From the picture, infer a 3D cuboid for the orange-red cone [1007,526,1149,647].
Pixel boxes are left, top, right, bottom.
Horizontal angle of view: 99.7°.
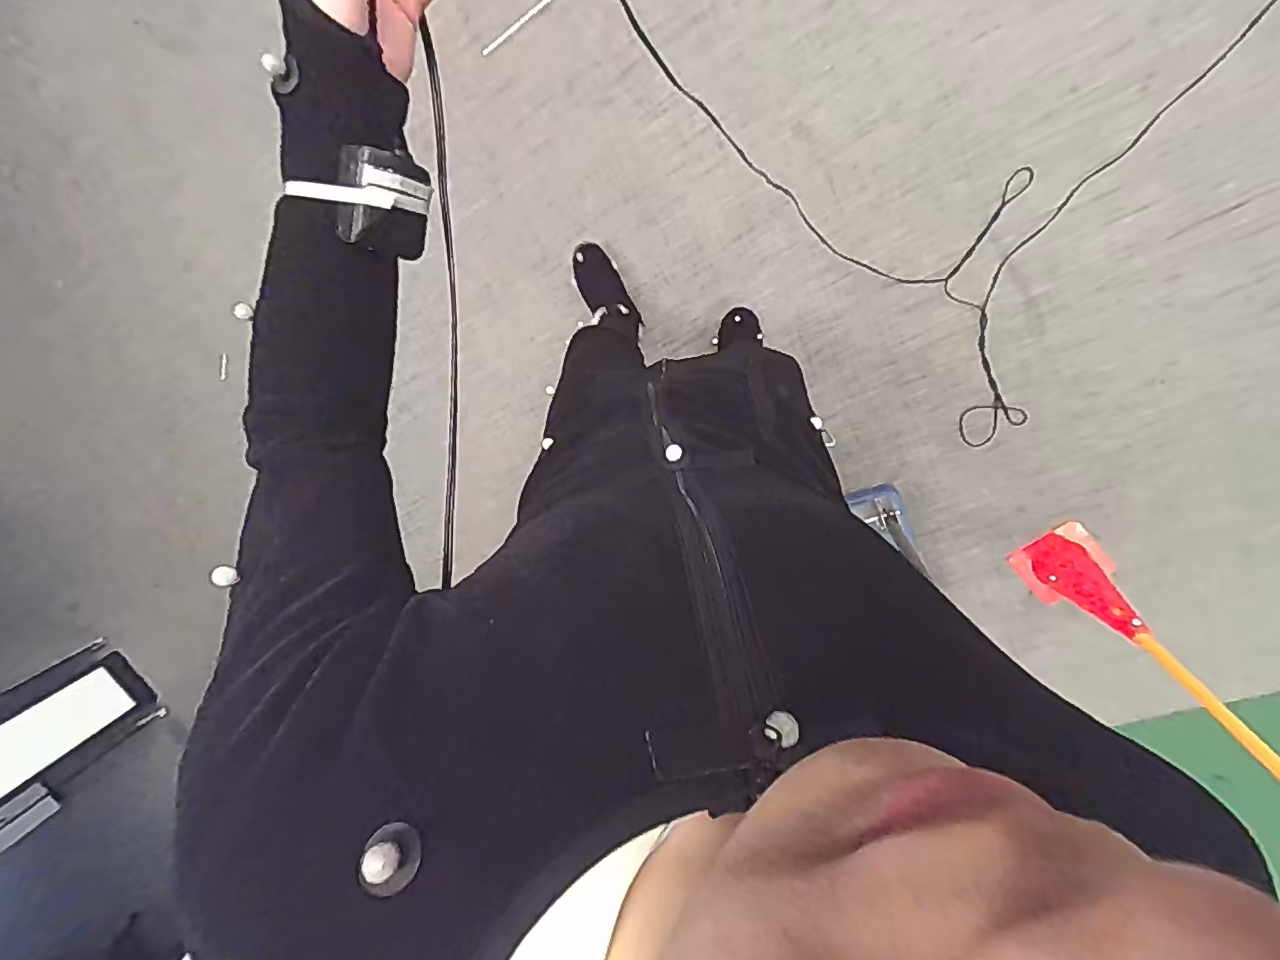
[{"bbox_3d":[1.142,0.297,1.364,0.199,0.360,0.198,-40,99,19],"label":"orange-red cone"}]
